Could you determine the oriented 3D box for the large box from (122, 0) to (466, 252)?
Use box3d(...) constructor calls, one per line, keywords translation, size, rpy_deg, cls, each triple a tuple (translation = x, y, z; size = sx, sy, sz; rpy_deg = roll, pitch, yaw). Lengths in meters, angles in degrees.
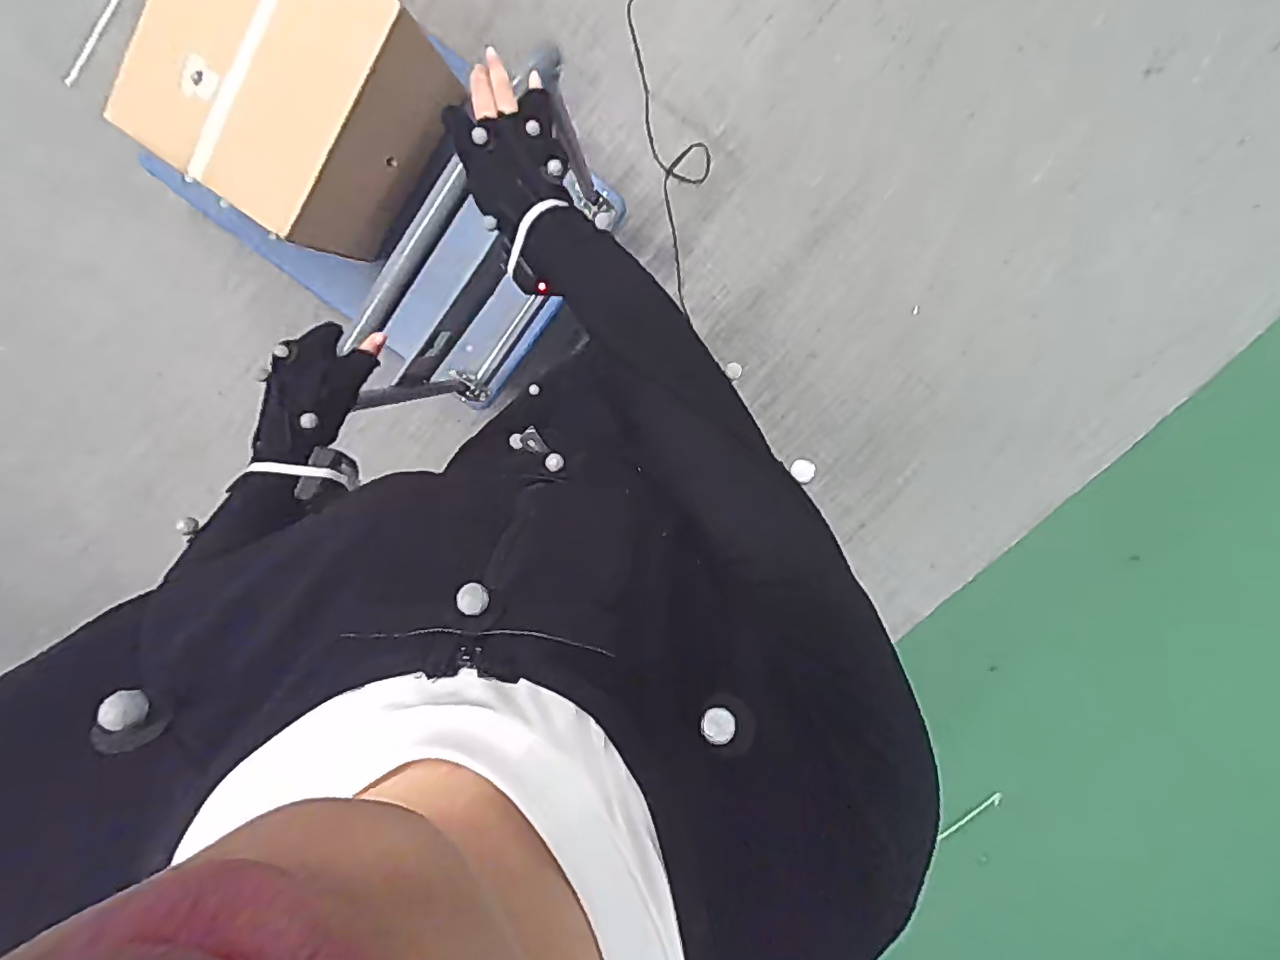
box3d(translation=(-0.580, -0.690, 0.969), size=(0.320, 0.320, 0.408), rpy_deg=(35, 104, -8), cls="large box")
